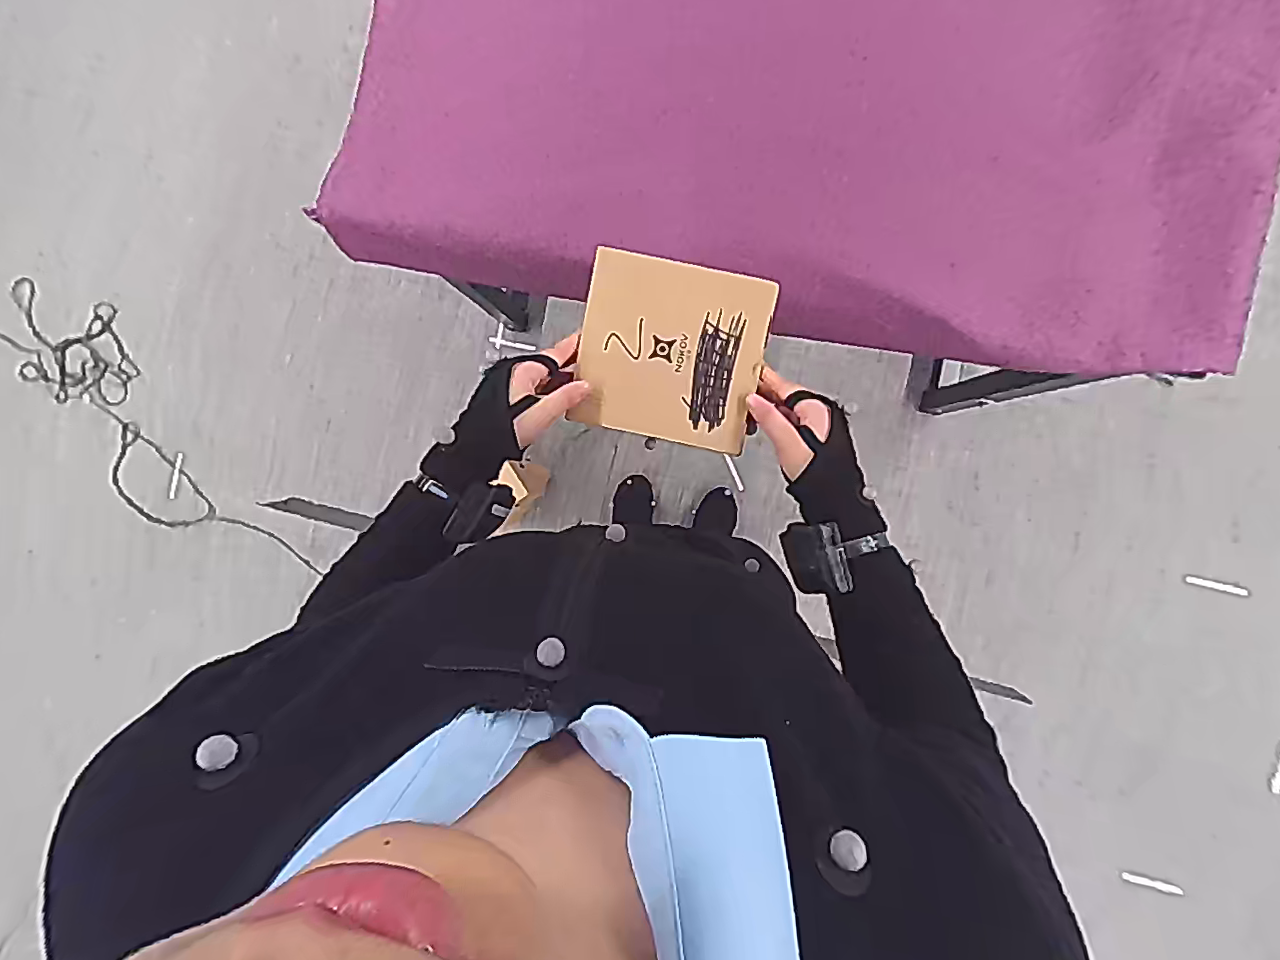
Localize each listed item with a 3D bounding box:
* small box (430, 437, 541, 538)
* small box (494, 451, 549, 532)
[{"bbox_3d":[-0.352,0.015,1.279,0.179,0.176,0.168,-33,88,4],"label":"small box"},{"bbox_3d":[-0.364,0.016,1.446,0.168,0.176,0.179,35,93,2],"label":"small box"}]
